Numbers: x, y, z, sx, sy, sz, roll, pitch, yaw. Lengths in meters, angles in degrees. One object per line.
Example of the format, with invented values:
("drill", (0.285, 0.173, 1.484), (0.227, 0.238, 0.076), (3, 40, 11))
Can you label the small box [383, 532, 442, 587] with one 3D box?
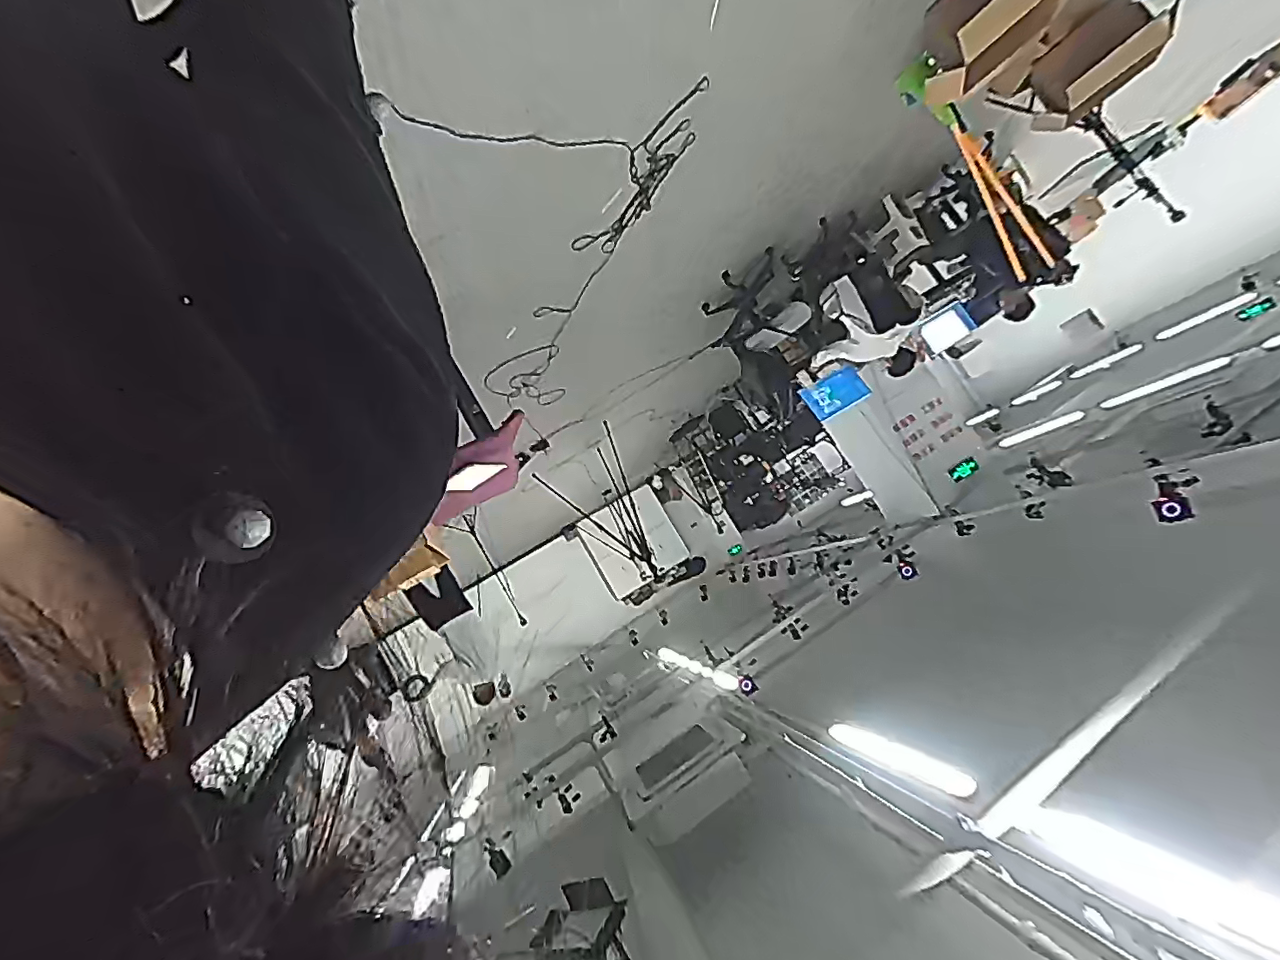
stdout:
("small box", (-0.991, 0.343, 2.352), (0.168, 0.176, 0.179), (-29, 171, -16))
